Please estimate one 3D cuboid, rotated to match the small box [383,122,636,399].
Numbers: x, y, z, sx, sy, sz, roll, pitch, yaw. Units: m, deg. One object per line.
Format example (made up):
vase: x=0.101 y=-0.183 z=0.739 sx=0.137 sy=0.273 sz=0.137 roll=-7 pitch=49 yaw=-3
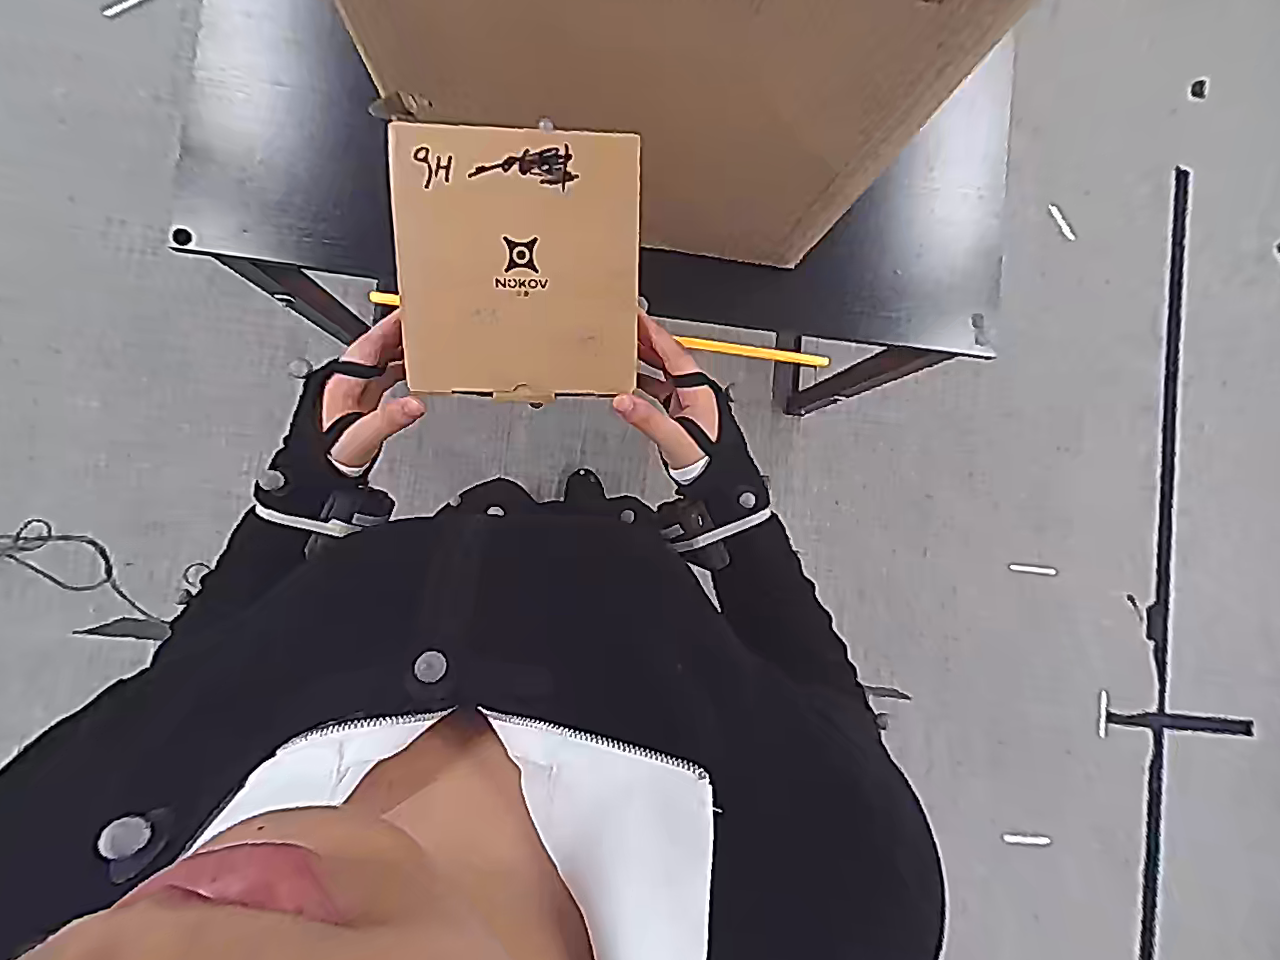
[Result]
small box: x=-0.089 y=-0.163 z=0.447 sx=0.168 sy=0.176 sz=0.179 roll=-1 pitch=103 yaw=-4
